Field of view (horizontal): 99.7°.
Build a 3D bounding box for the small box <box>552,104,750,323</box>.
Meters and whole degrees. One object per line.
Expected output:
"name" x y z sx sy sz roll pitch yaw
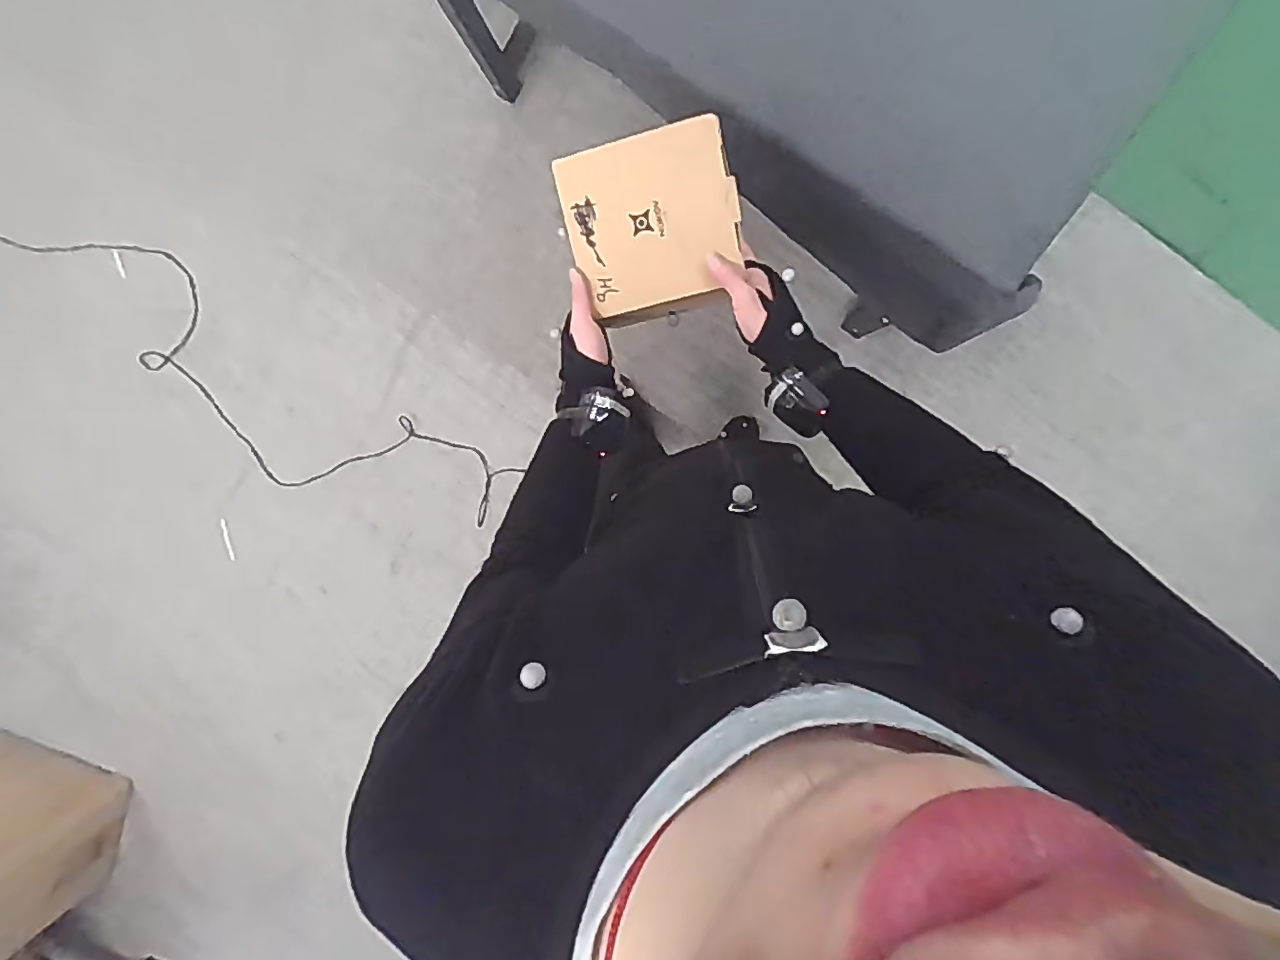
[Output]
"small box" 0.015 -0.285 0.620 0.179 0.176 0.168 -12 101 5
